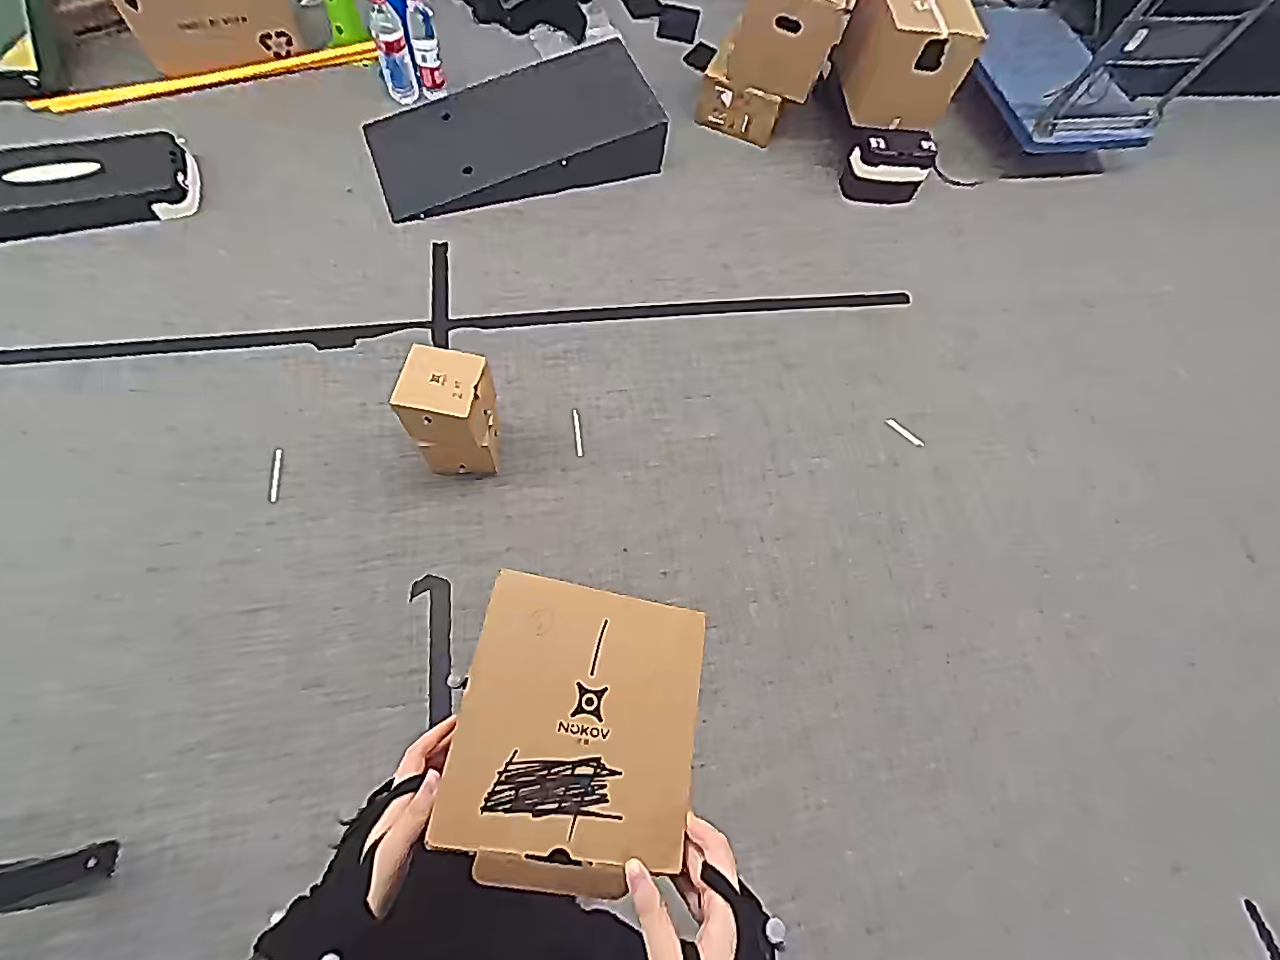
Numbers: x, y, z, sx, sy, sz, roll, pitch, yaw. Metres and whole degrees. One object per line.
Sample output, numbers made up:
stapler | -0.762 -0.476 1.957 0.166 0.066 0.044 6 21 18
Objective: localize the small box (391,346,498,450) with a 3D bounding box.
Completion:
small box | -0.453 -0.187 1.282 0.179 0.176 0.168 11 67 -2

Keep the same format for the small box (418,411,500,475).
small box | -0.470 -0.119 1.432 0.179 0.176 0.168 0 67 -8
